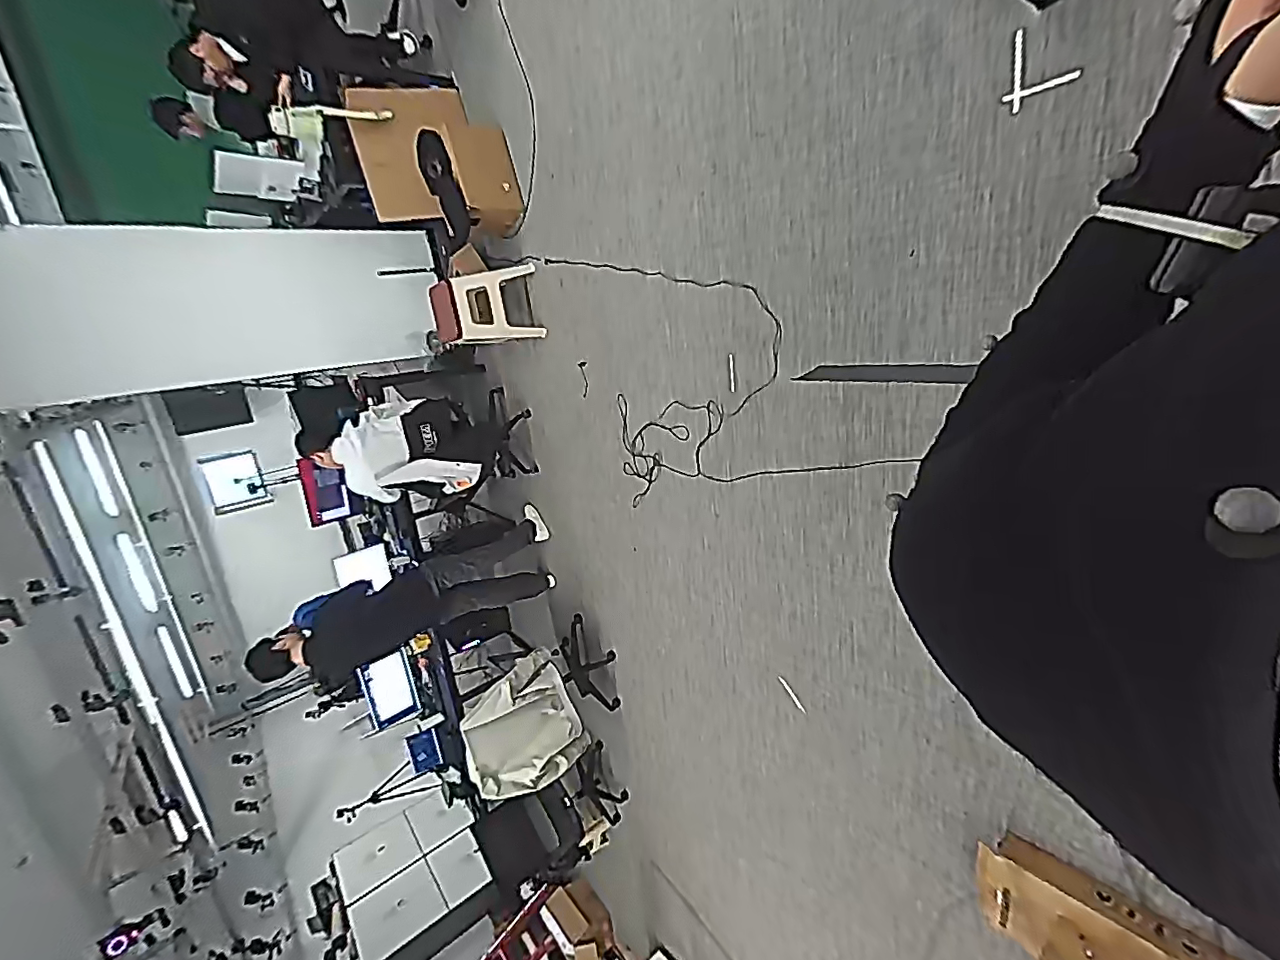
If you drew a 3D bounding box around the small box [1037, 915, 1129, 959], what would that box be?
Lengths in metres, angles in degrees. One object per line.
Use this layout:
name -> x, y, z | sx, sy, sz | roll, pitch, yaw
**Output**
small box -> 1.148, 1.302, 1.399 | 0.168, 0.176, 0.179 | 12, 116, 50
